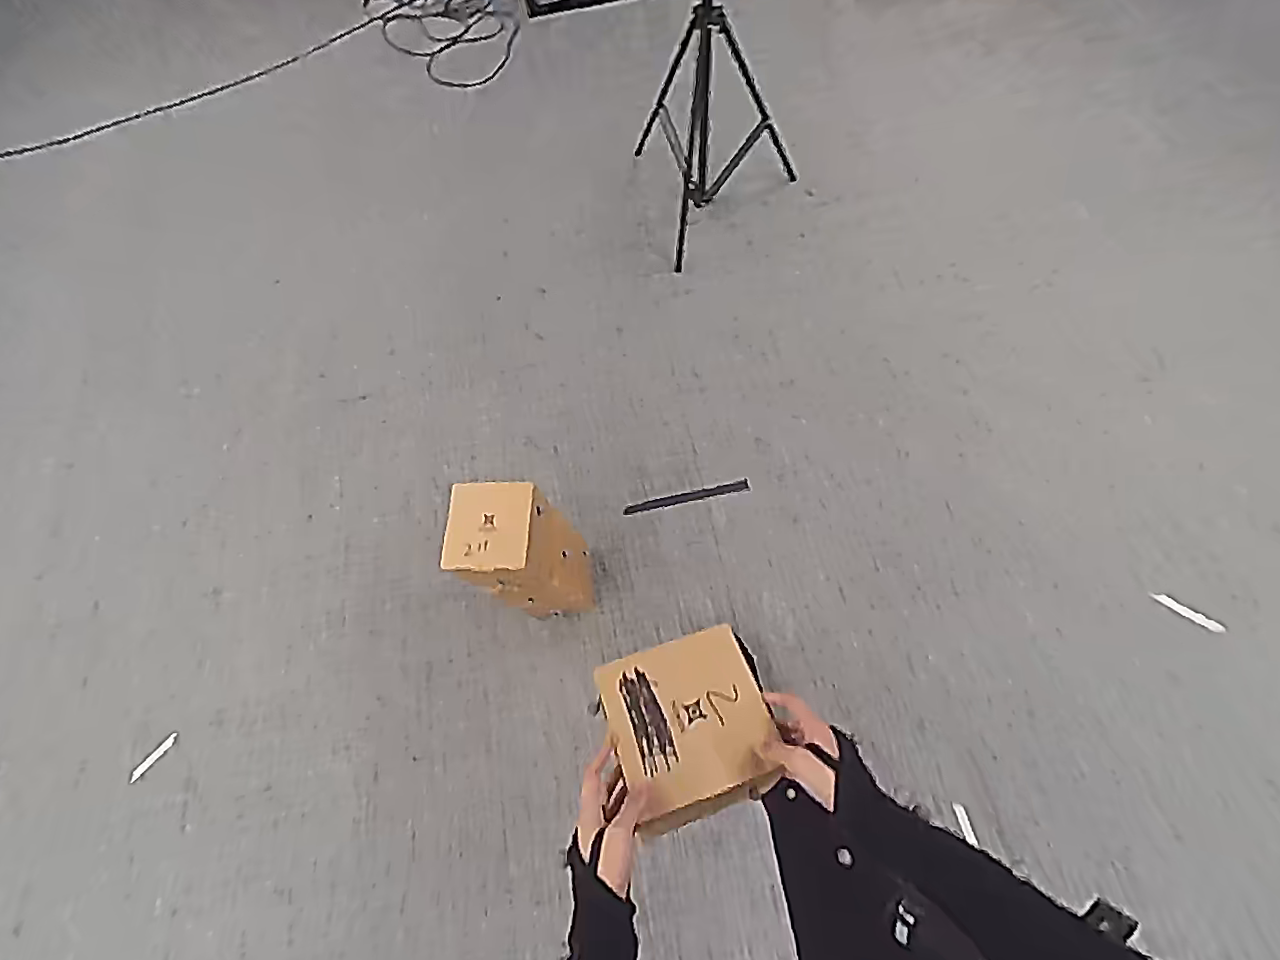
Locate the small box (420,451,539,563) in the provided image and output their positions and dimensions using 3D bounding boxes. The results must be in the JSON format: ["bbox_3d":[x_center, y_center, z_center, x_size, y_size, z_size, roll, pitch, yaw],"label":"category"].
[{"bbox_3d":[-0.302,0.056,1.059,0.168,0.176,0.179,-1,69,6],"label":"small box"}]

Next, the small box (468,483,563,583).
[{"bbox_3d":[-0.270,0.123,1.207,0.168,0.176,0.179,-6,68,3],"label":"small box"}]

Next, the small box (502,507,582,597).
[{"bbox_3d":[-0.246,0.184,1.354,0.168,0.176,0.179,-9,68,2],"label":"small box"}]
